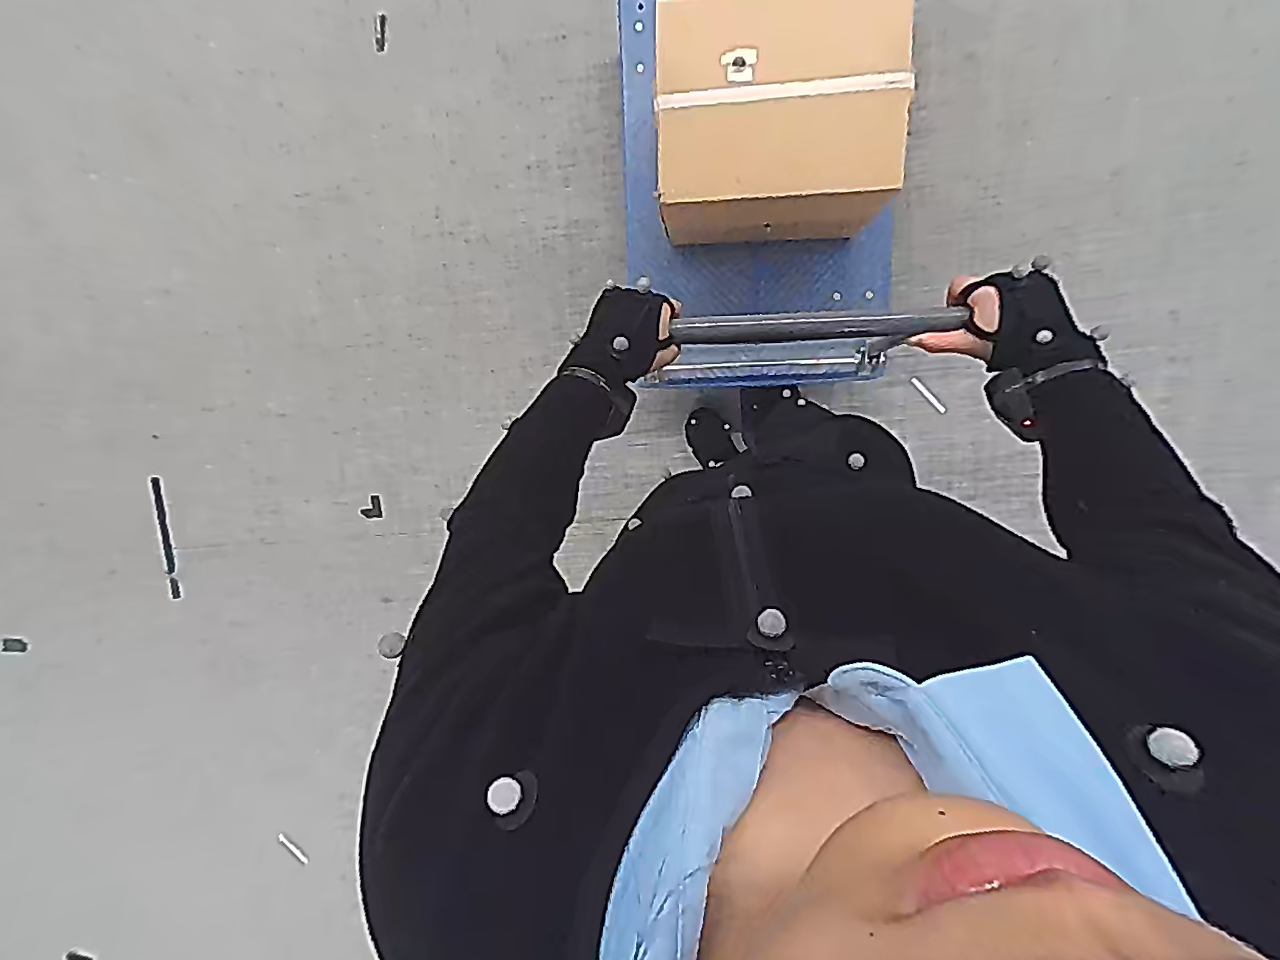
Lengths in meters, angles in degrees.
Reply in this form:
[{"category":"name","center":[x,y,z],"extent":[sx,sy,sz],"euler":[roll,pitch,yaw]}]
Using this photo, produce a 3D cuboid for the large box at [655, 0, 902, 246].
[{"category":"large box","center":[0.249,-0.664,1.052],"extent":[0.408,0.320,0.320],"euler":[0,99,8]}]
